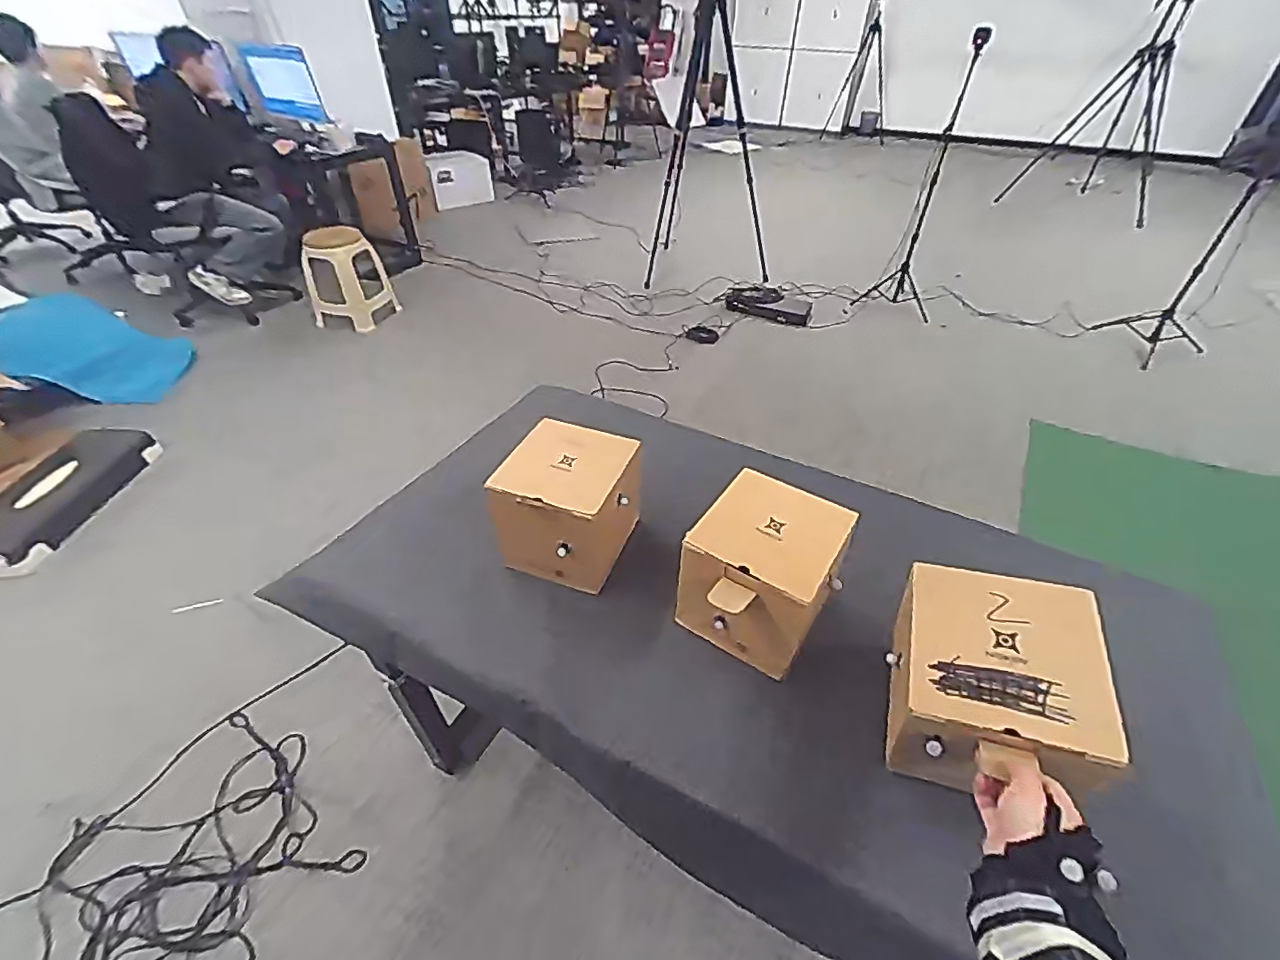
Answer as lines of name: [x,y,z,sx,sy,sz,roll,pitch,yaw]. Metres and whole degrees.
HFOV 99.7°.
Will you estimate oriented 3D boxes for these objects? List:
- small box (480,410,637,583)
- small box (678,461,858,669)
small box: [-0.111,0.024,0.810,0.168,0.176,0.179,16,42,14]
small box: [0.162,0.110,0.721,0.168,0.176,0.179,25,47,24]
